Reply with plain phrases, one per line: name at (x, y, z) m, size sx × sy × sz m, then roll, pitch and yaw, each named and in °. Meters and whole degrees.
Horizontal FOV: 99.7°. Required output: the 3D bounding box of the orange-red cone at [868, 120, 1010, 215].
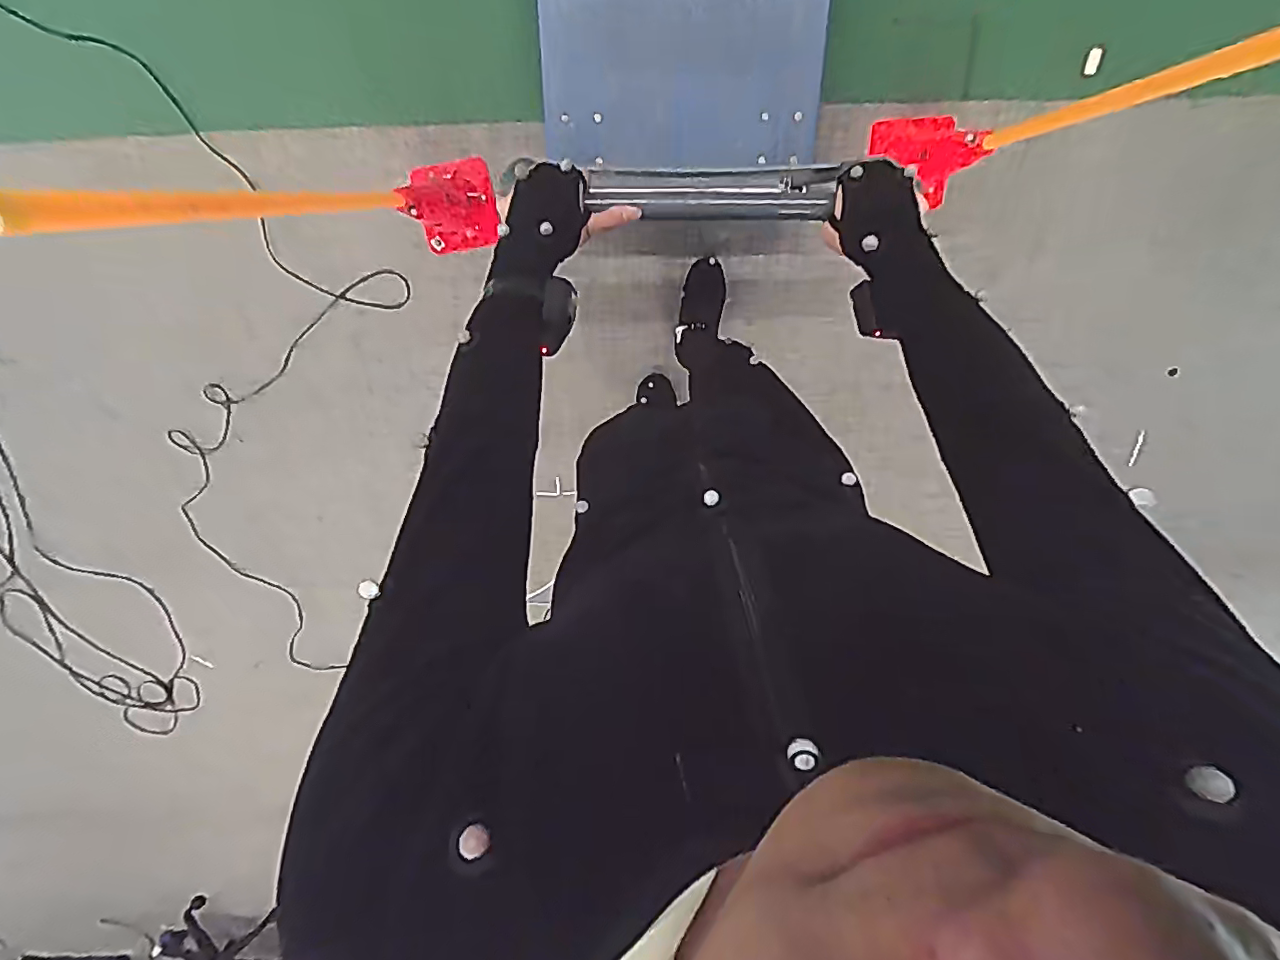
orange-red cone at (0.650, -0.680, 1.136) m, size 0.198 × 0.360 × 0.199 m, roll -1°, pitch 112°, yaw 1°
